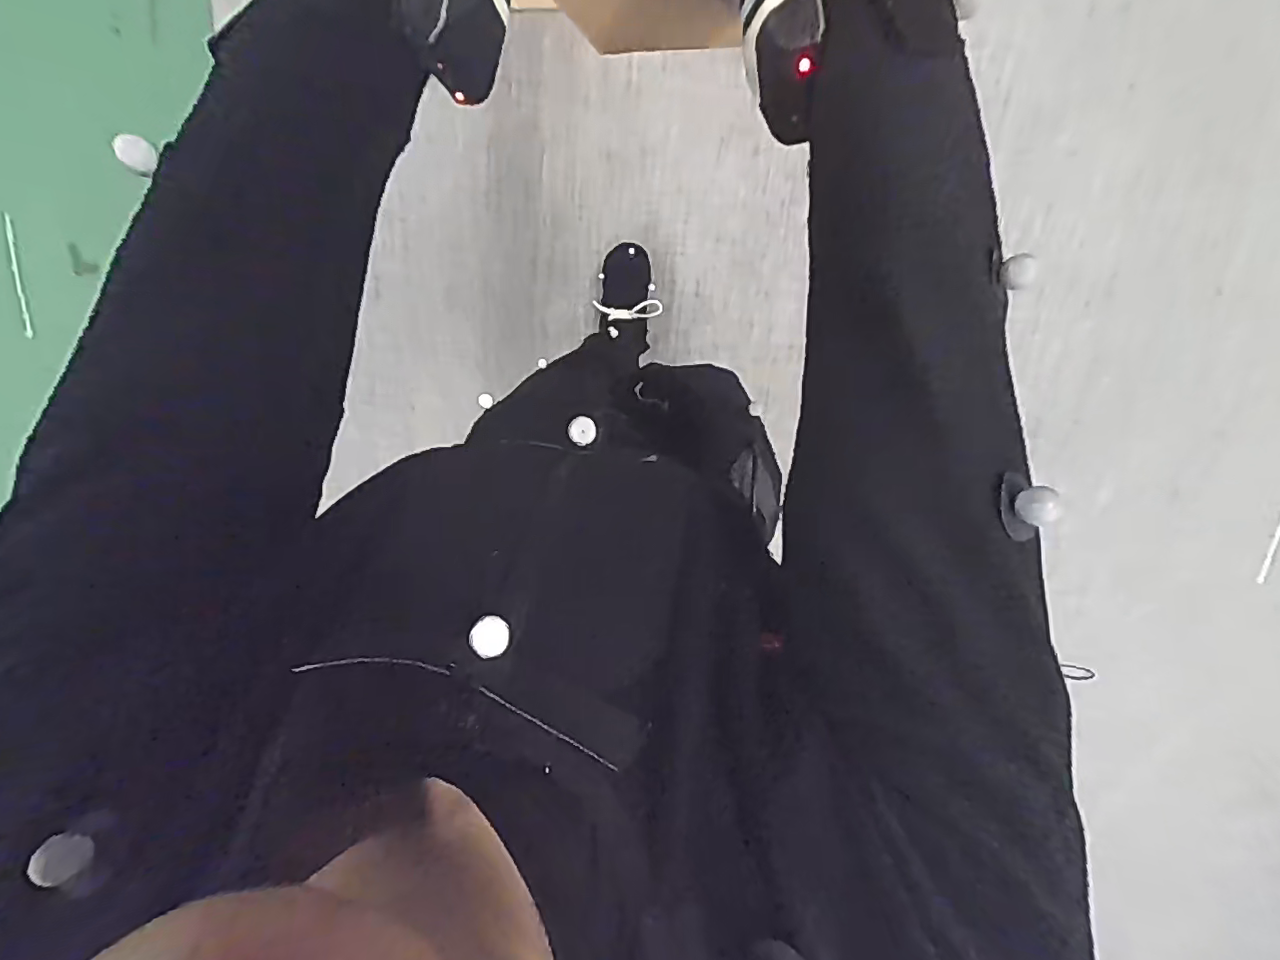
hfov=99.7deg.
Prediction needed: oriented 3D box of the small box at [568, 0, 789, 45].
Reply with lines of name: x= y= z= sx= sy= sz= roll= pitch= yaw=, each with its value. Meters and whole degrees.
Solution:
small box: x=0.026 y=-0.437 z=0.382 sx=0.179 sy=0.176 sz=0.168 roll=6 pitch=113 yaw=10
